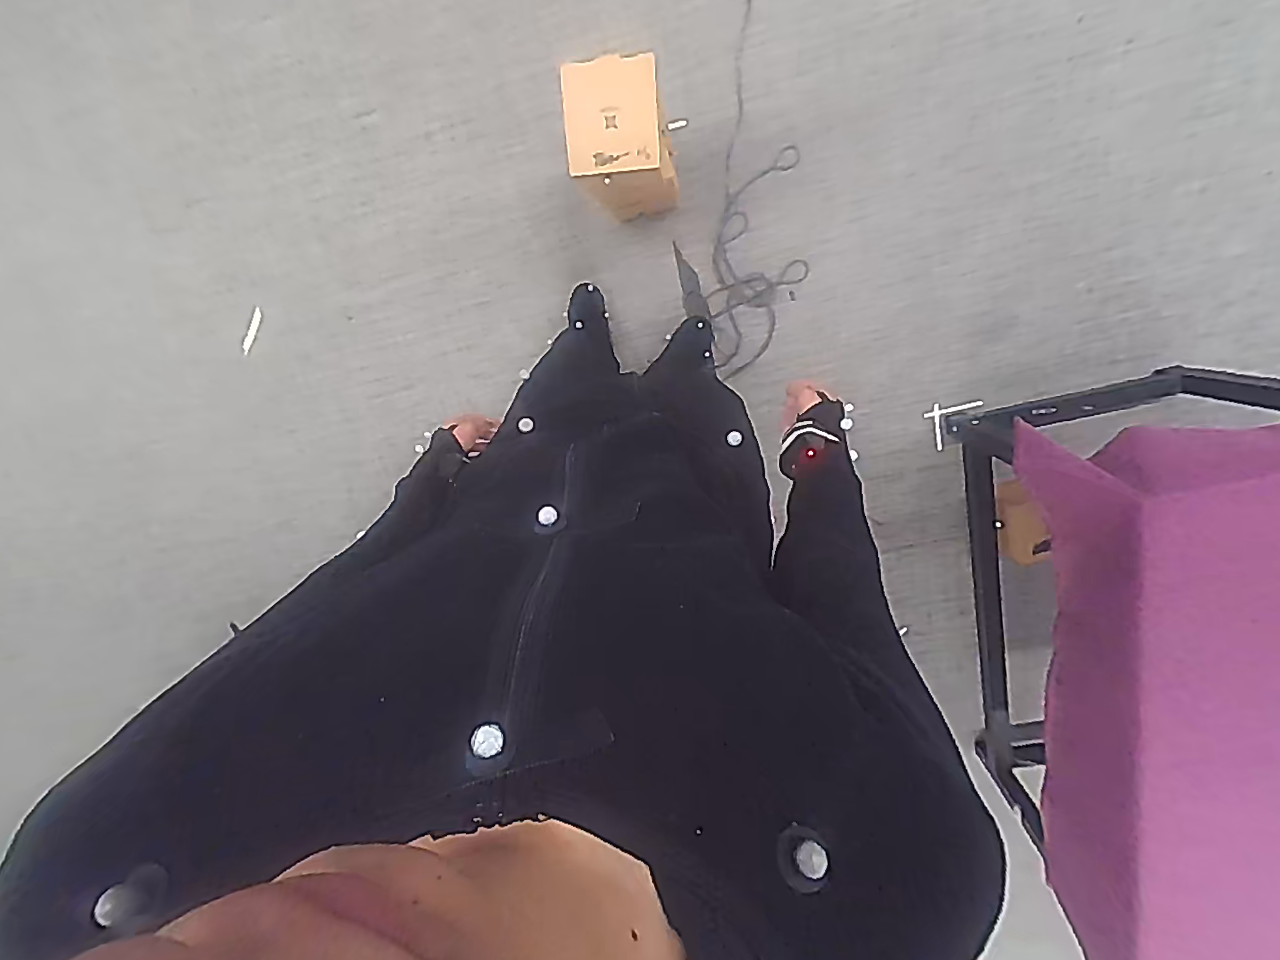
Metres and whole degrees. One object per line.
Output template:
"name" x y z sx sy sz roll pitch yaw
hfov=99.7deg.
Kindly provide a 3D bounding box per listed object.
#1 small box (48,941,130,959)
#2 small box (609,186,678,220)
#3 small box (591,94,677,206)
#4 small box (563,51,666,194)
"small box" -1.402 1.280 1.332 0.179 0.176 0.168 -7 108 9
"small box" -0.004 -0.758 1.321 0.168 0.176 0.179 -10 107 10
"small box" -0.020 -0.708 1.168 0.179 0.176 0.168 -9 106 9
"small box" -0.039 -0.656 1.013 0.168 0.176 0.179 -2 107 7
